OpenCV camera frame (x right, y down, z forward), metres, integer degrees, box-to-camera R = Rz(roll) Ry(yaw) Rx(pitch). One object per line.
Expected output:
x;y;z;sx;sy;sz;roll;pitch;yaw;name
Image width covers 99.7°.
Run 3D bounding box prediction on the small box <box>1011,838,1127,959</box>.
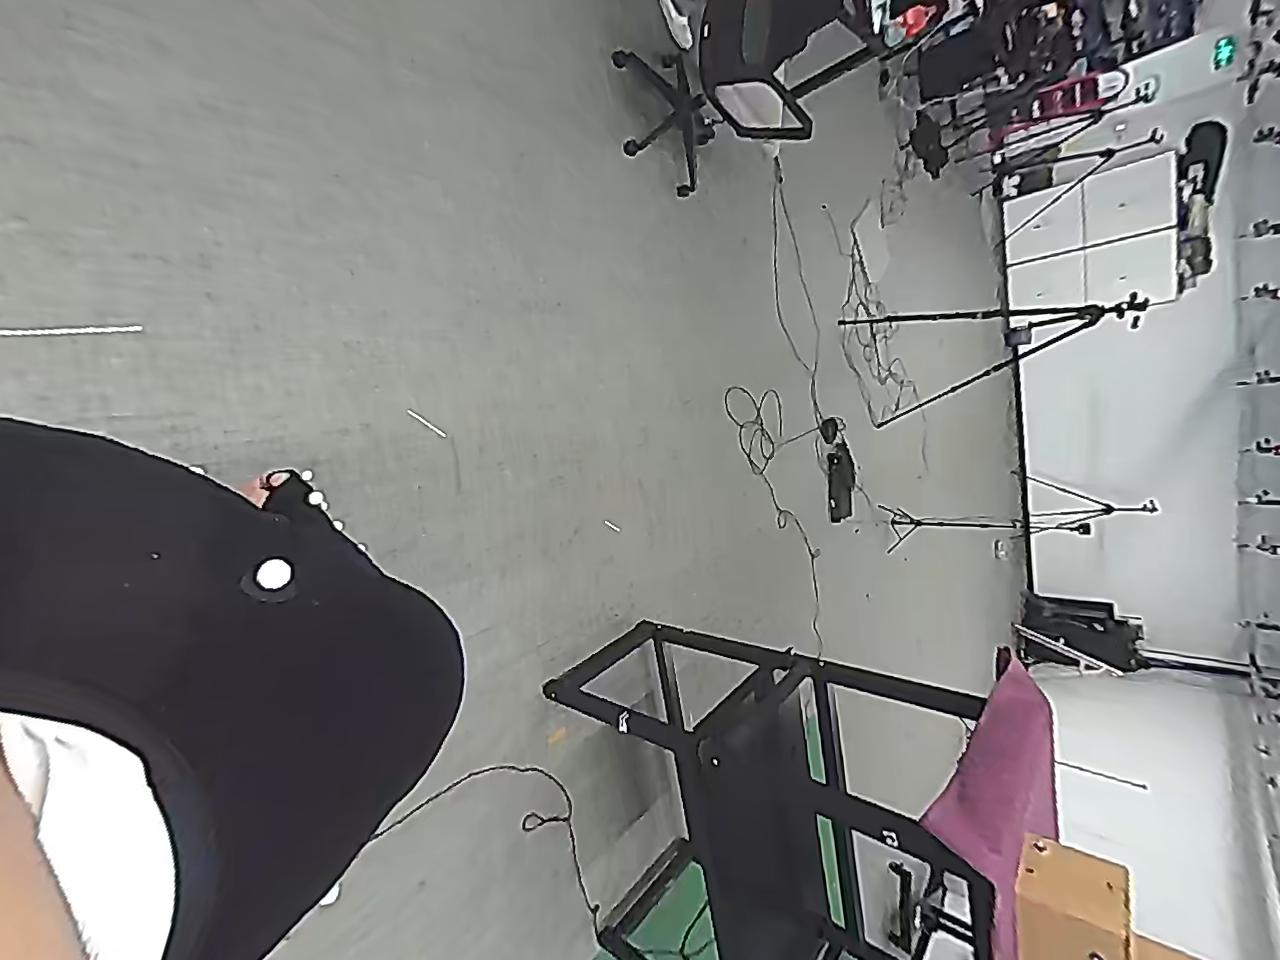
0.842;0.849;1.063;0.168;0.176;0.179;-19;104;-46;small box
